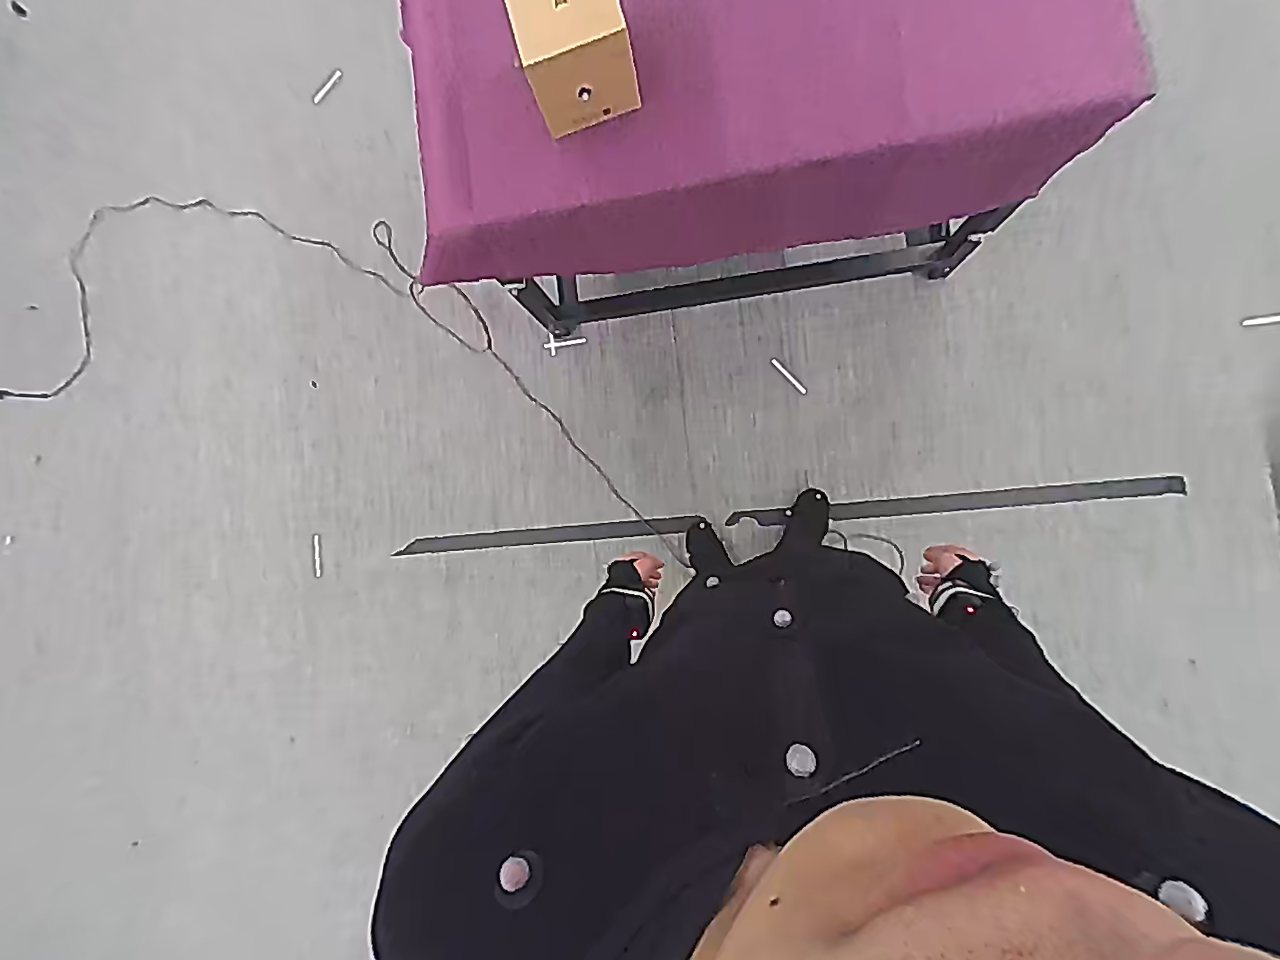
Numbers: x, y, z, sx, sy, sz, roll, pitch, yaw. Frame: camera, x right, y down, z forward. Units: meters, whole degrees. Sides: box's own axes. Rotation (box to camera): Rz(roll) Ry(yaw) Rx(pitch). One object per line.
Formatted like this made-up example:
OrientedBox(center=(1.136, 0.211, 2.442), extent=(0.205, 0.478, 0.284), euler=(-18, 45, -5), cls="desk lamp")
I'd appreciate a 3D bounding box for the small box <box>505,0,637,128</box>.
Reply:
OrientedBox(center=(-0.109, -0.717, 0.883), extent=(0.168, 0.176, 0.179), euler=(-15, 86, 6), cls="small box")
